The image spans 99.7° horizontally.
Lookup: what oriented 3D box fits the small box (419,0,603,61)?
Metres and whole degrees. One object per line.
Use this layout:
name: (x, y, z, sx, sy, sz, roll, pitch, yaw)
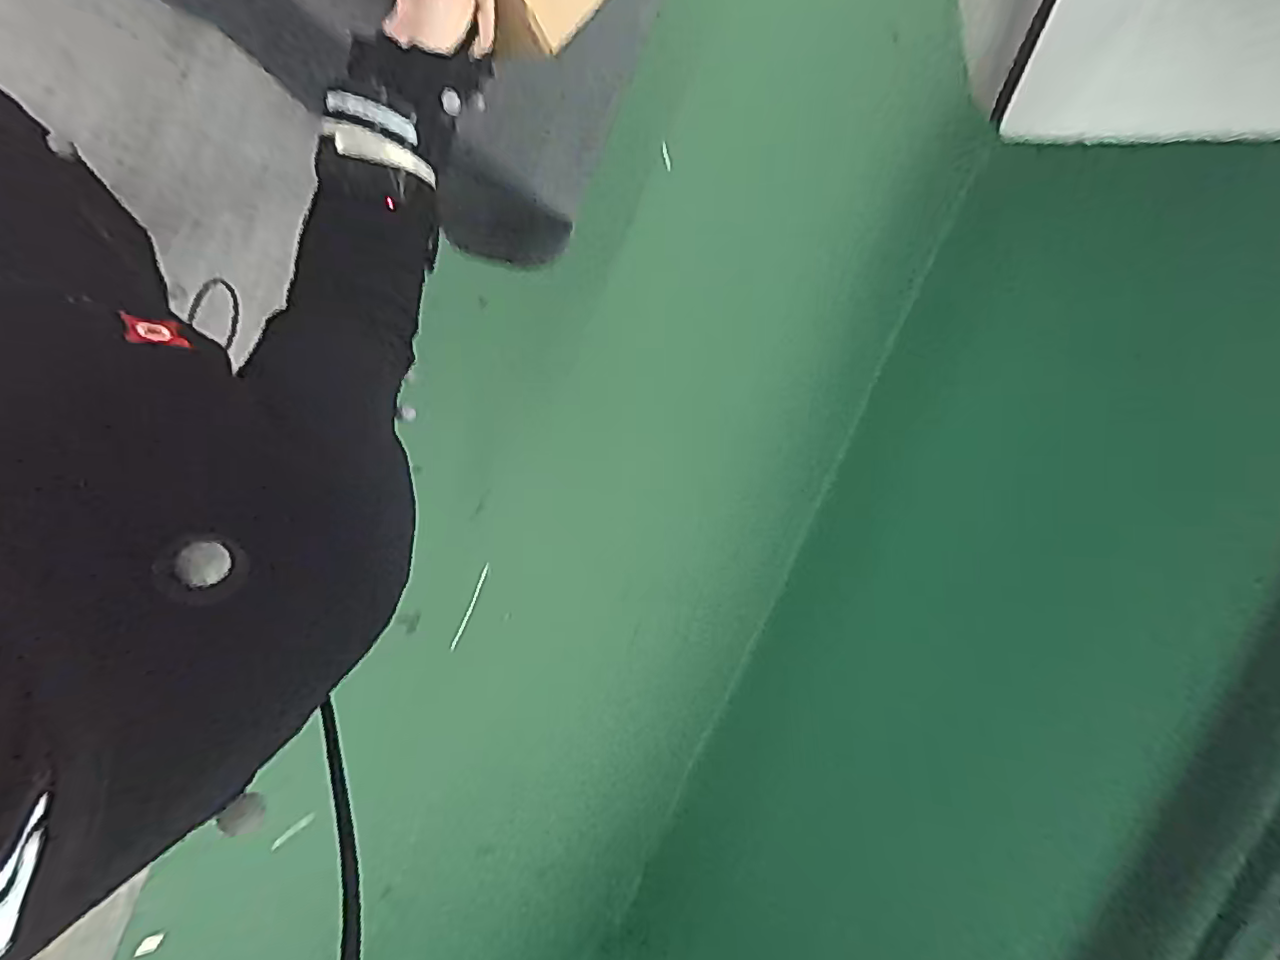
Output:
small box: (-0.115, -0.492, 0.452, 0.179, 0.176, 0.168, -55, 143, -10)
